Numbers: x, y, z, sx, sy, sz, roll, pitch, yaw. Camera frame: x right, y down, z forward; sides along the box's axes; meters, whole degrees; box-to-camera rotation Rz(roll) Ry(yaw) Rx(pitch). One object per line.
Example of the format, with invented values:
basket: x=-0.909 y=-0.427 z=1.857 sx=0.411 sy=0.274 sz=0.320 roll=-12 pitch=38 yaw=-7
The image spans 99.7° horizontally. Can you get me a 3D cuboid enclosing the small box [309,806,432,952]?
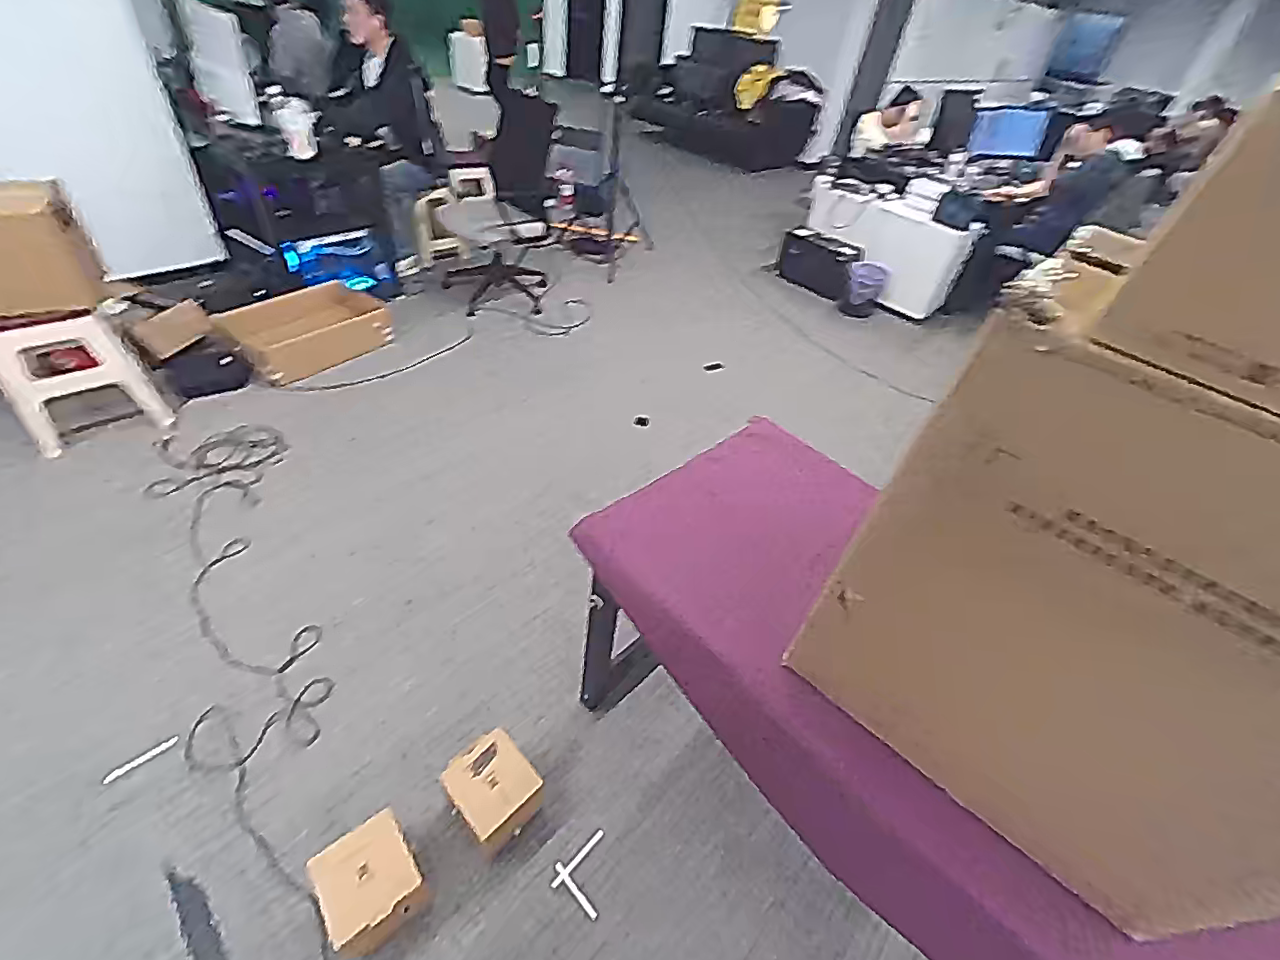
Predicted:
small box: x=-0.551 y=0.832 z=1.123 sx=0.168 sy=0.176 sz=0.179 roll=-25 pitch=52 yaw=-33

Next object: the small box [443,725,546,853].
small box: x=-0.338 y=0.727 z=1.269 sx=0.179 sy=0.176 sz=0.168 roll=37 pitch=50 yaw=27

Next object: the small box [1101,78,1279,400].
small box: x=0.482 y=-0.174 z=0.386 sx=0.168 sy=0.176 sz=0.179 roll=36 pitch=49 yaw=25
